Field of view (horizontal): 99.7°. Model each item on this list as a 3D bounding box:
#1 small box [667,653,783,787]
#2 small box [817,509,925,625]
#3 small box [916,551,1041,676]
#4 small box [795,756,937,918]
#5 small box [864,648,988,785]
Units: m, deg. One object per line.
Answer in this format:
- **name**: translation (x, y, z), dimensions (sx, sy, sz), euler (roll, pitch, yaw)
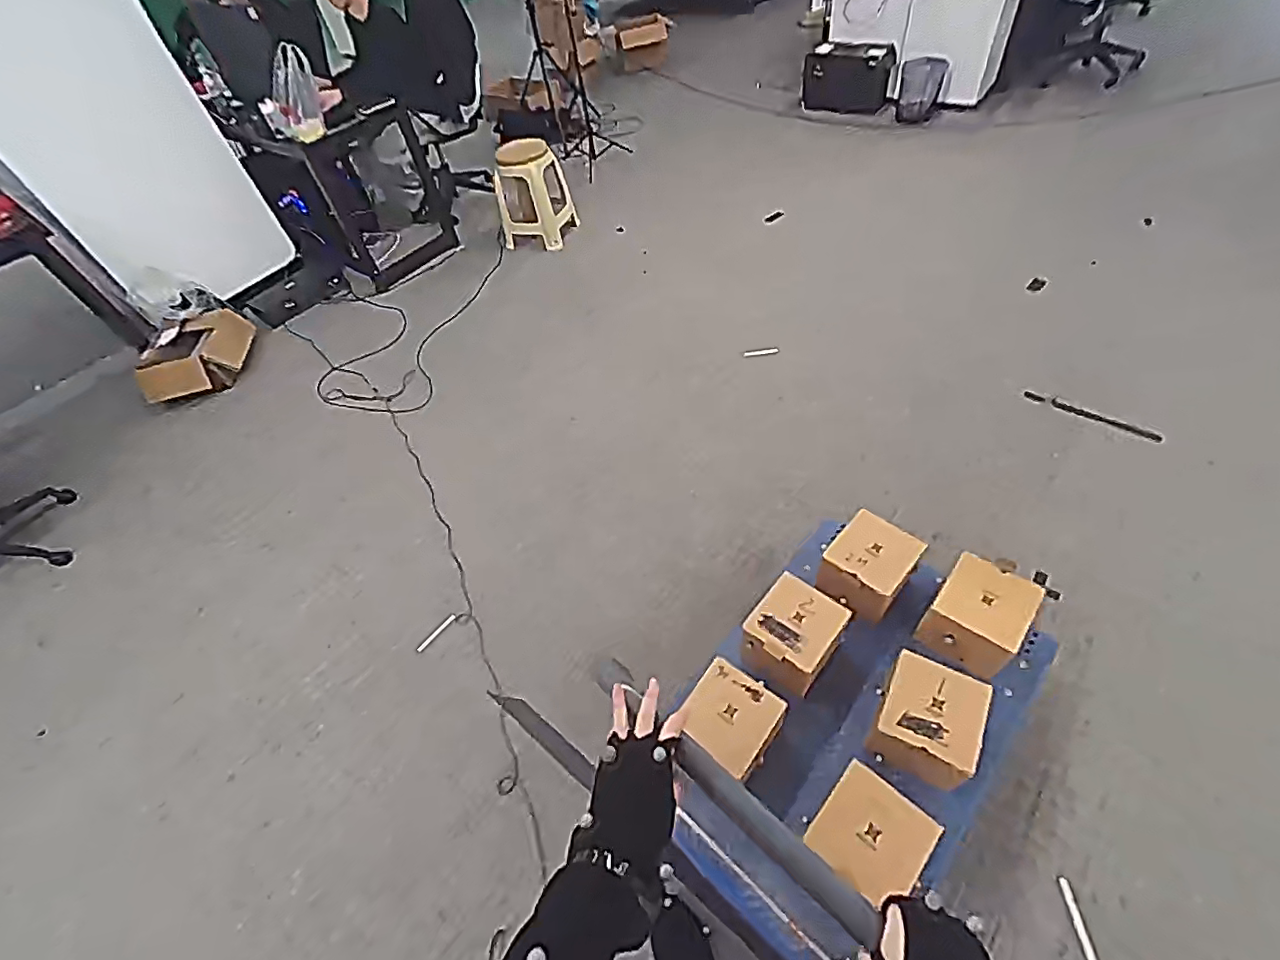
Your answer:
- **small box**: translation (0.179, 0.504, 1.126), dimensions (0.168, 0.176, 0.179), euler (31, 63, 28)
- **small box**: translation (0.543, 0.210, 1.298), dimensions (0.179, 0.176, 0.168), euler (-41, 56, -21)
- **small box**: translation (0.736, 0.299, 1.196), dimensions (0.168, 0.176, 0.179), euler (30, 62, 29)
- **small box**: translation (0.397, 0.646, 0.980), dimensions (0.168, 0.176, 0.179), euler (34, 64, 30)
- **small box**: translation (0.563, 0.477, 1.083), dimensions (0.168, 0.176, 0.179), euler (21, 57, 24)
